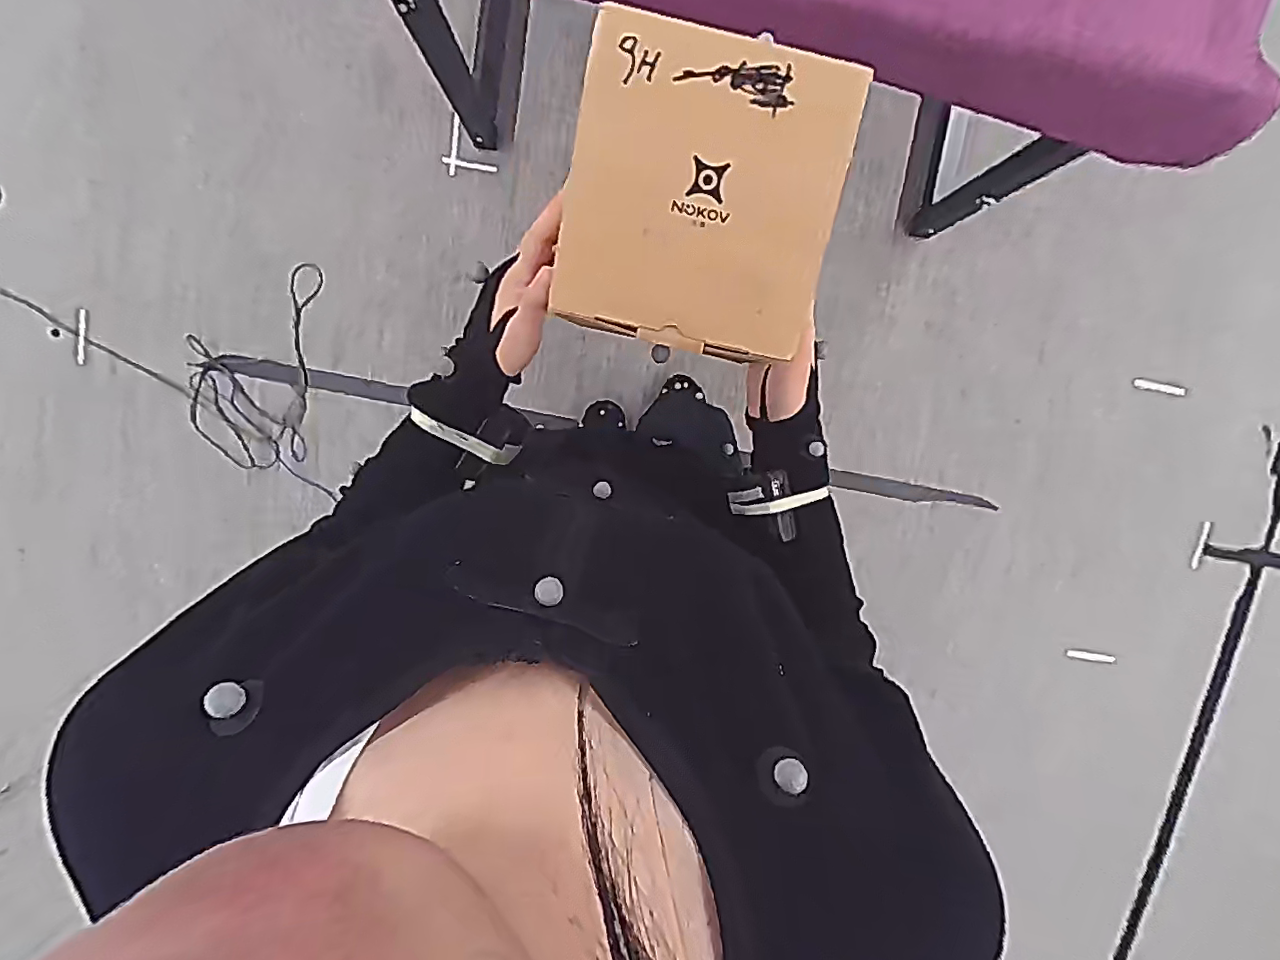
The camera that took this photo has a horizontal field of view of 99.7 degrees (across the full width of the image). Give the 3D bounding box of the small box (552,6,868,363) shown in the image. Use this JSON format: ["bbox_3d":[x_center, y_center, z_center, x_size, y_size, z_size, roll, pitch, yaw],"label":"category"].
[{"bbox_3d":[0.040,-0.196,0.415,0.168,0.176,0.179,12,103,-3],"label":"small box"}]
